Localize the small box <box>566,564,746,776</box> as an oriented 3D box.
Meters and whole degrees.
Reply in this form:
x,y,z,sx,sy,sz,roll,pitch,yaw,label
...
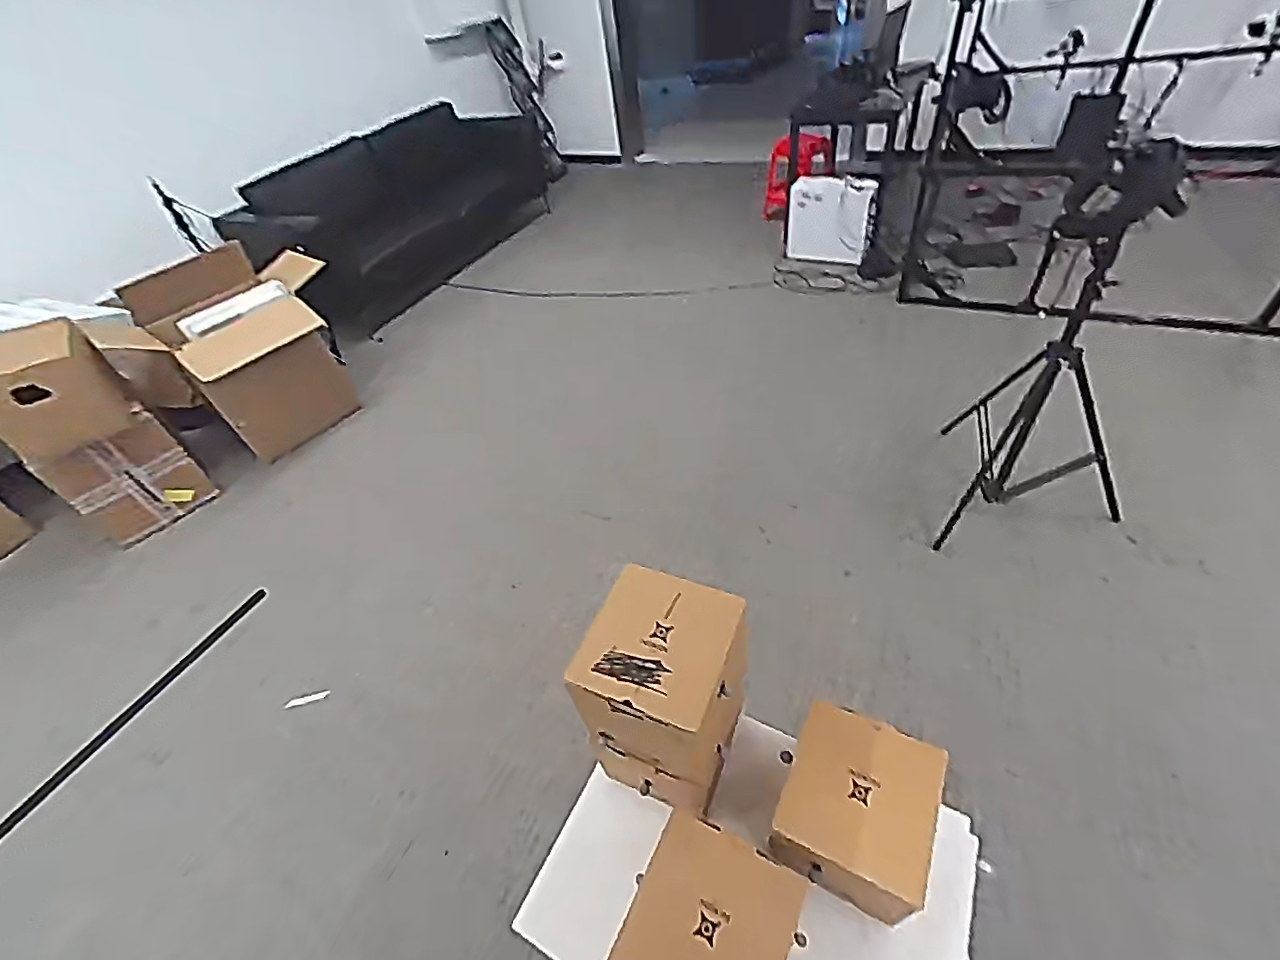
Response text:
x,y,z,sx,sy,sz,roll,pitch,yaw,label
0.033,0.243,0.691,0.168,0.176,0.179,14,49,22,small box
